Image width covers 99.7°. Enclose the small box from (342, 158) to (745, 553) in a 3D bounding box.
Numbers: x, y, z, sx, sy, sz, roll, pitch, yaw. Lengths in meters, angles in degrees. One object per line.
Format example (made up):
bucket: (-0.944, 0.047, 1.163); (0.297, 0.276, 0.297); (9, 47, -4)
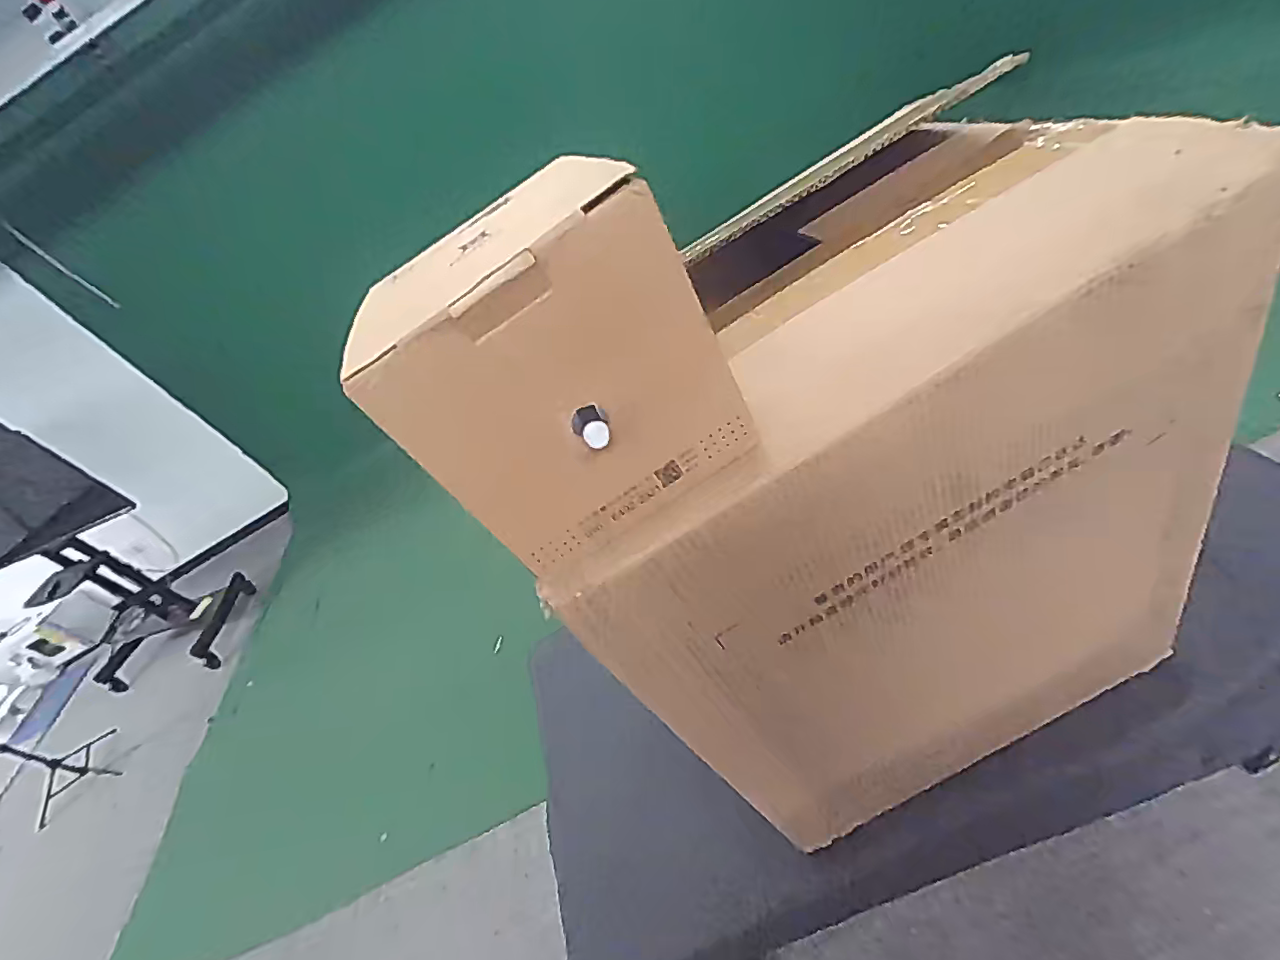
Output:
small box: (-0.057, -0.076, 0.355); (0.168, 0.176, 0.179); (-33, 38, 2)
